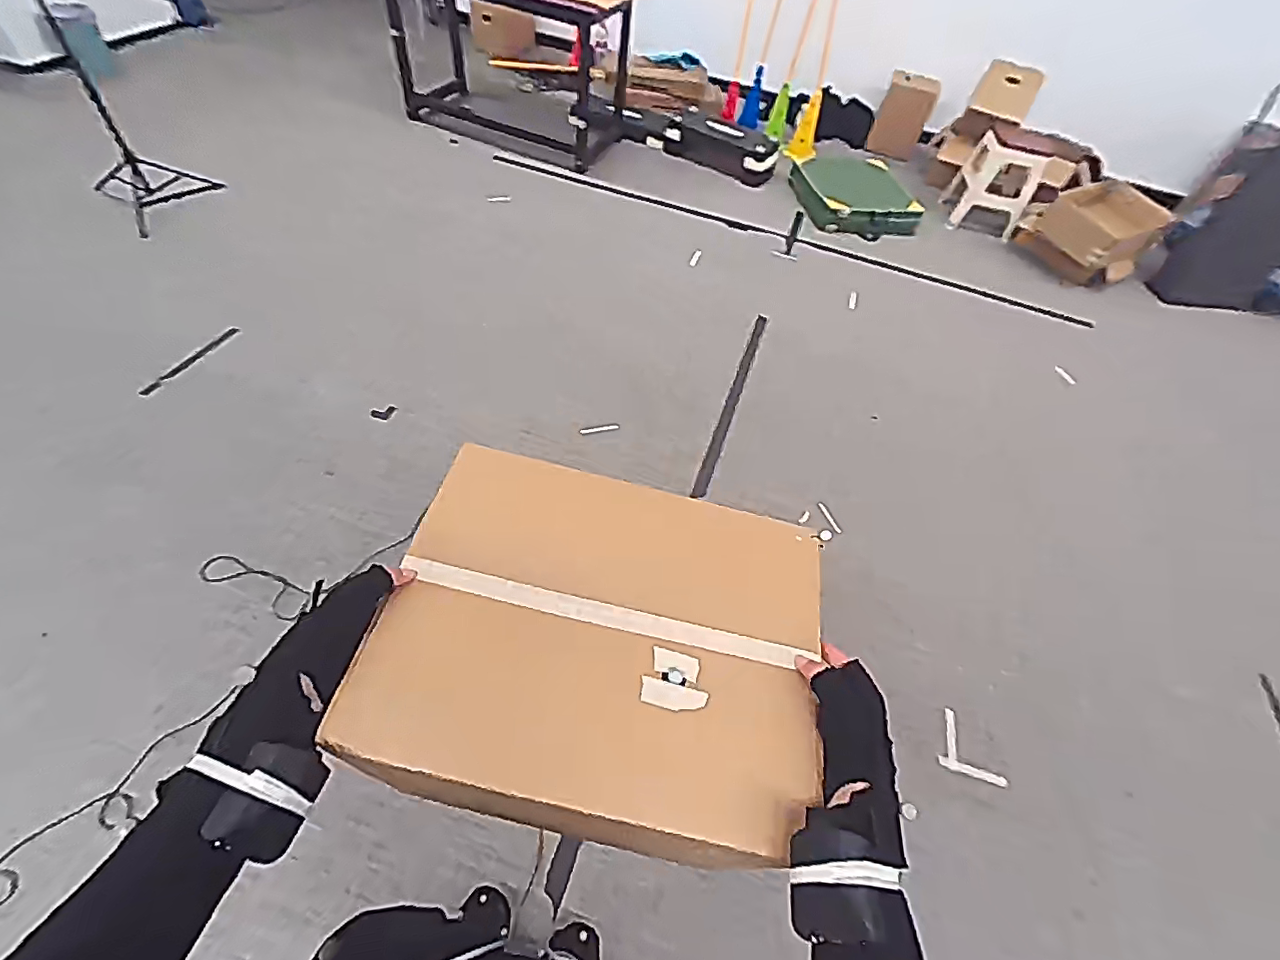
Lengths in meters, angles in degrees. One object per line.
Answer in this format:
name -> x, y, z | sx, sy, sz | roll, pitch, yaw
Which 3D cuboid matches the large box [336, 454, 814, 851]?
large box -> -0.053, 0.217, 0.641 | 0.408, 0.320, 0.320 | 14, 54, -2
